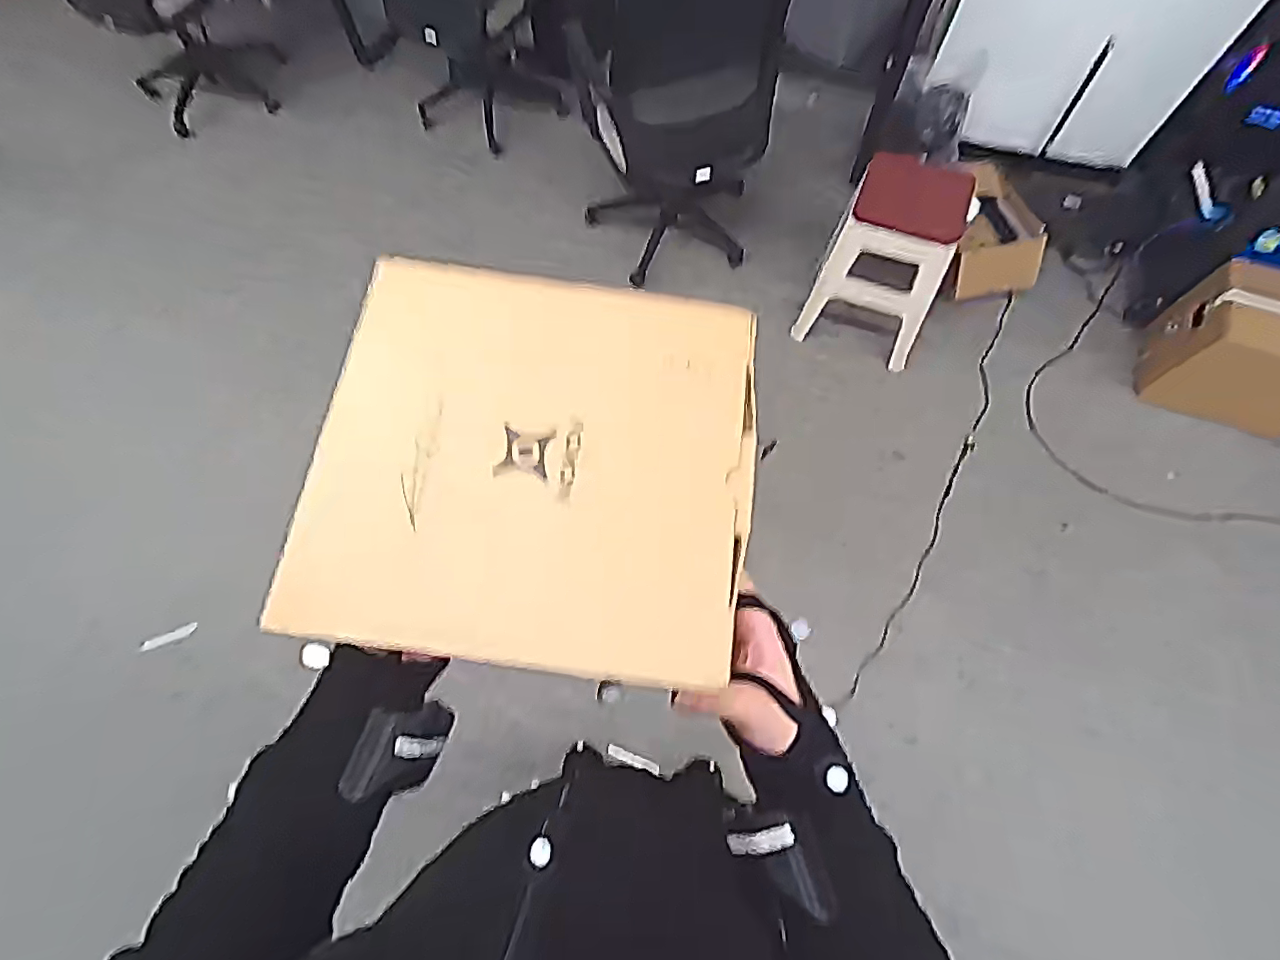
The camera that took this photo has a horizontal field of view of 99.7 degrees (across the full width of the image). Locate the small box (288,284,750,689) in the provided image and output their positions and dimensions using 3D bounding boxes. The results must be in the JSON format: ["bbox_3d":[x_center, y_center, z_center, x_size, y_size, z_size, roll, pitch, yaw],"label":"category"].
[{"bbox_3d":[-0.046,0.018,0.312,0.179,0.176,0.168,7,72,0],"label":"small box"}]
